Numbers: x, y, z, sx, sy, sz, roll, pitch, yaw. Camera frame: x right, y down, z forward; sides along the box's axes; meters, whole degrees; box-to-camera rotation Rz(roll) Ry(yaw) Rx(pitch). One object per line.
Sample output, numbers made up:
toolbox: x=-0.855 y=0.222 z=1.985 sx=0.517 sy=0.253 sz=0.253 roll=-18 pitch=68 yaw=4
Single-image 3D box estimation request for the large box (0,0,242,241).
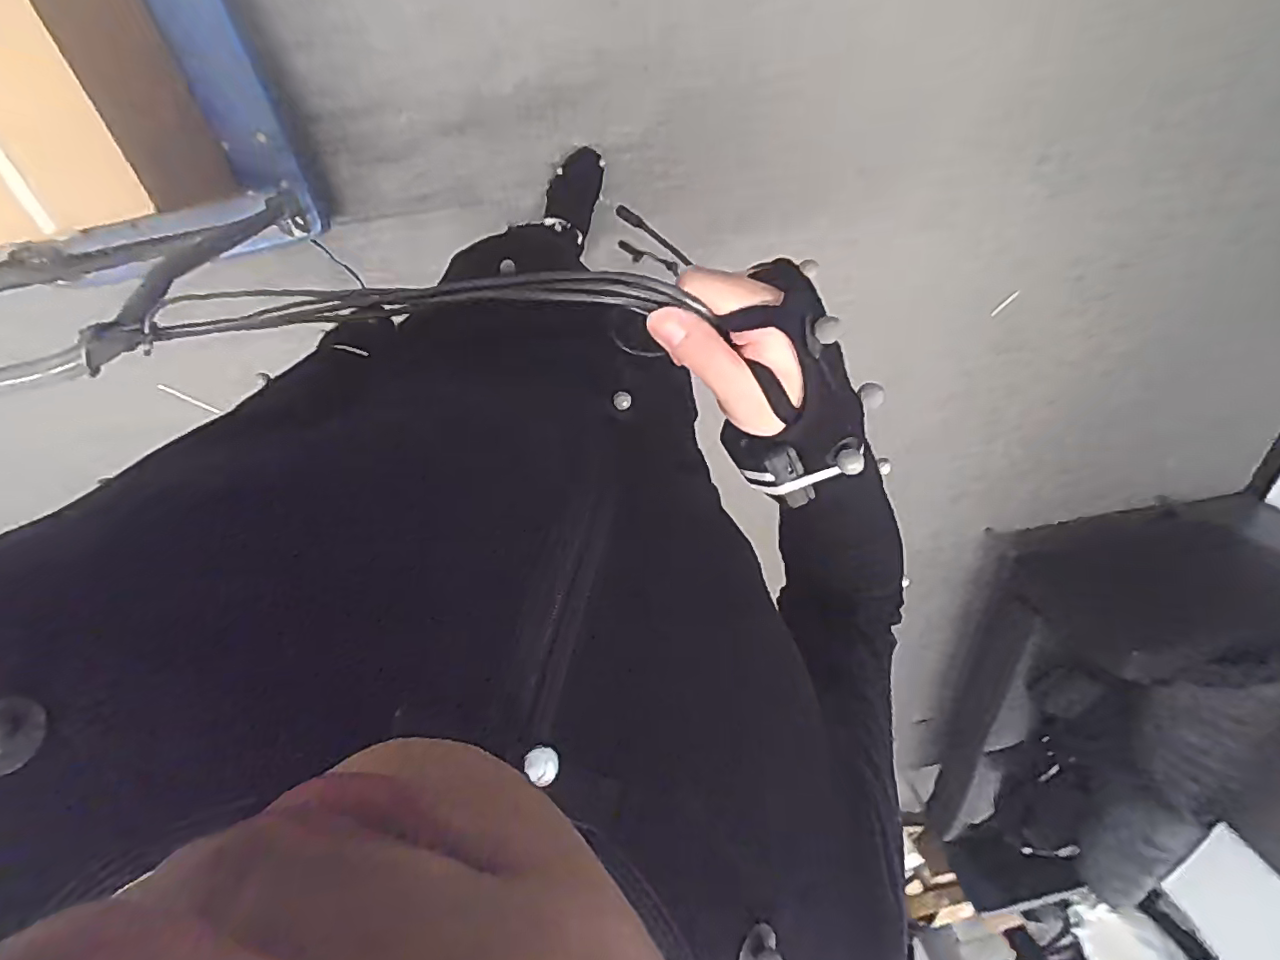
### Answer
large box: x=-0.939 y=-0.628 z=0.834 sx=0.320 sy=0.320 sz=0.408 roll=-13 pitch=123 yaw=-3
